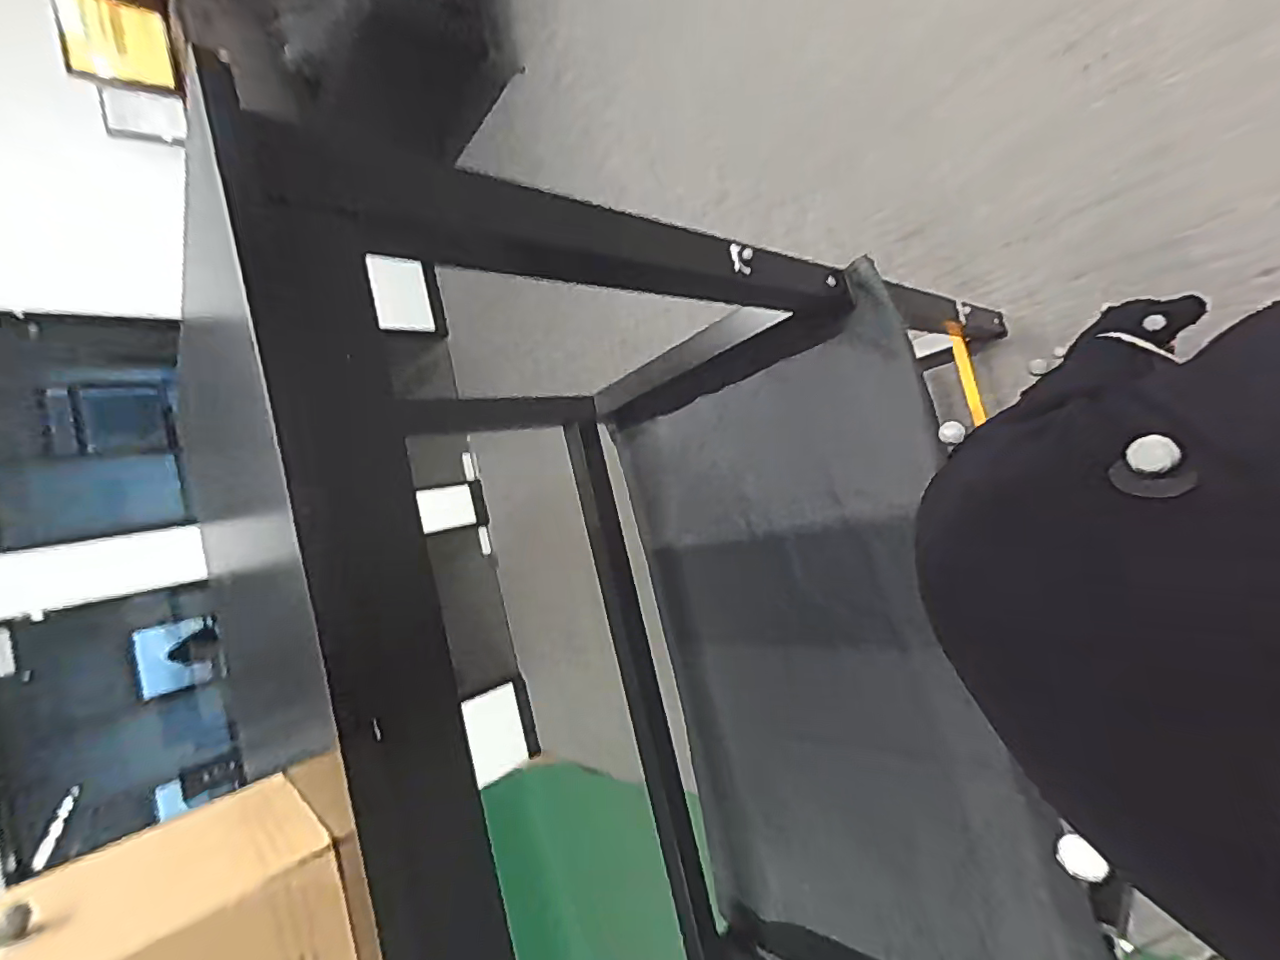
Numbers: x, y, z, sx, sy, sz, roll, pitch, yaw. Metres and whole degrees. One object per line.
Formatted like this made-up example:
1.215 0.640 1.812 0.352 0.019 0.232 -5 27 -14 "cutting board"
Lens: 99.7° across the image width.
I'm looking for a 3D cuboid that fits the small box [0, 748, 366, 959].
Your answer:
-0.264 0.275 0.301 0.179 0.176 0.168 -17 85 47 "small box"
